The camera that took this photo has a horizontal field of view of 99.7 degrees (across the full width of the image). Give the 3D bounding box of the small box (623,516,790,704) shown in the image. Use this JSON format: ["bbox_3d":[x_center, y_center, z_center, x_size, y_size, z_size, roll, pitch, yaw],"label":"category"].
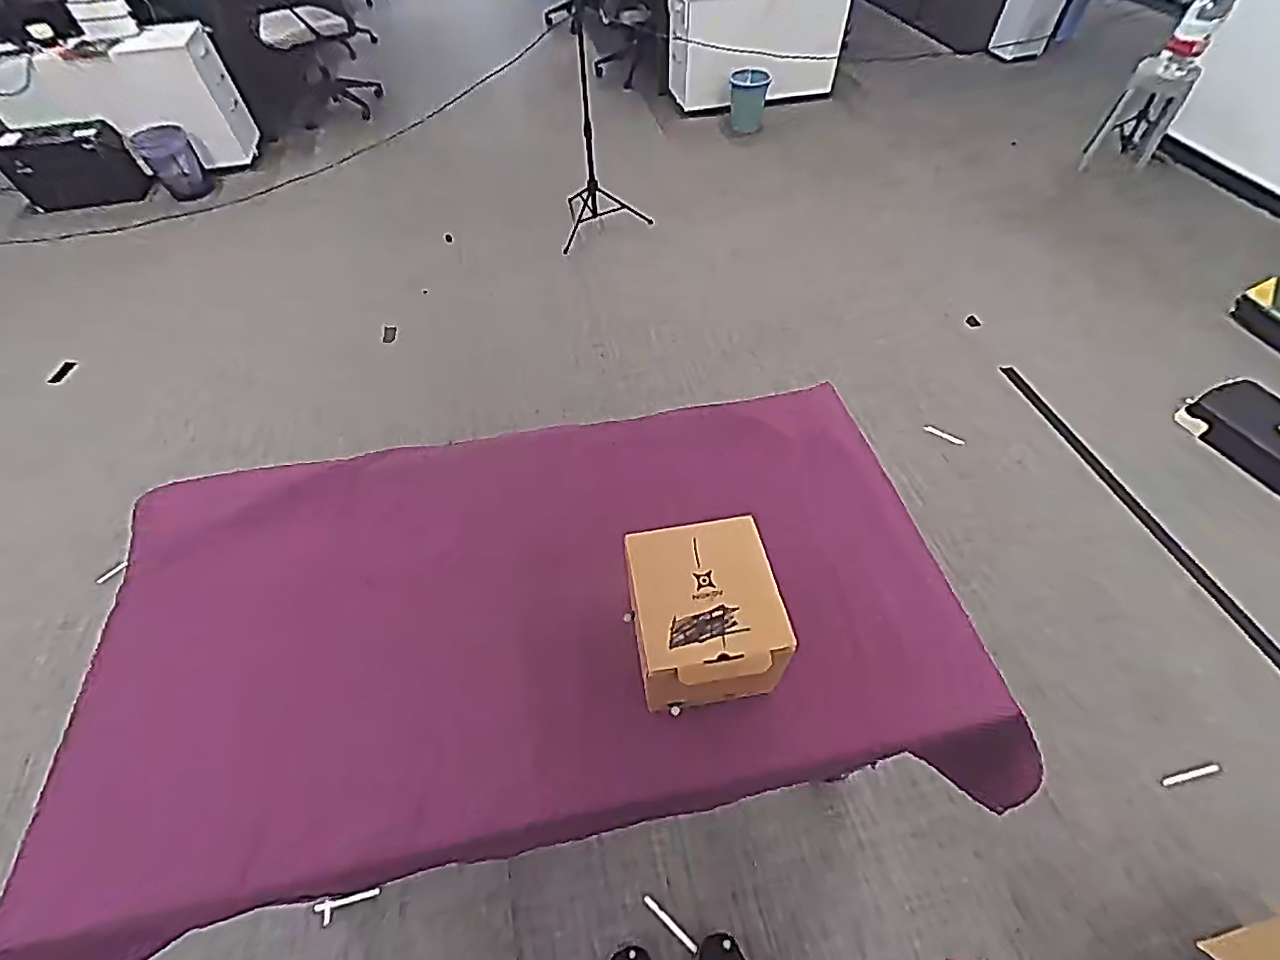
[{"bbox_3d":[0.074,0.172,0.689,0.168,0.176,0.179,-8,53,-4],"label":"small box"}]
